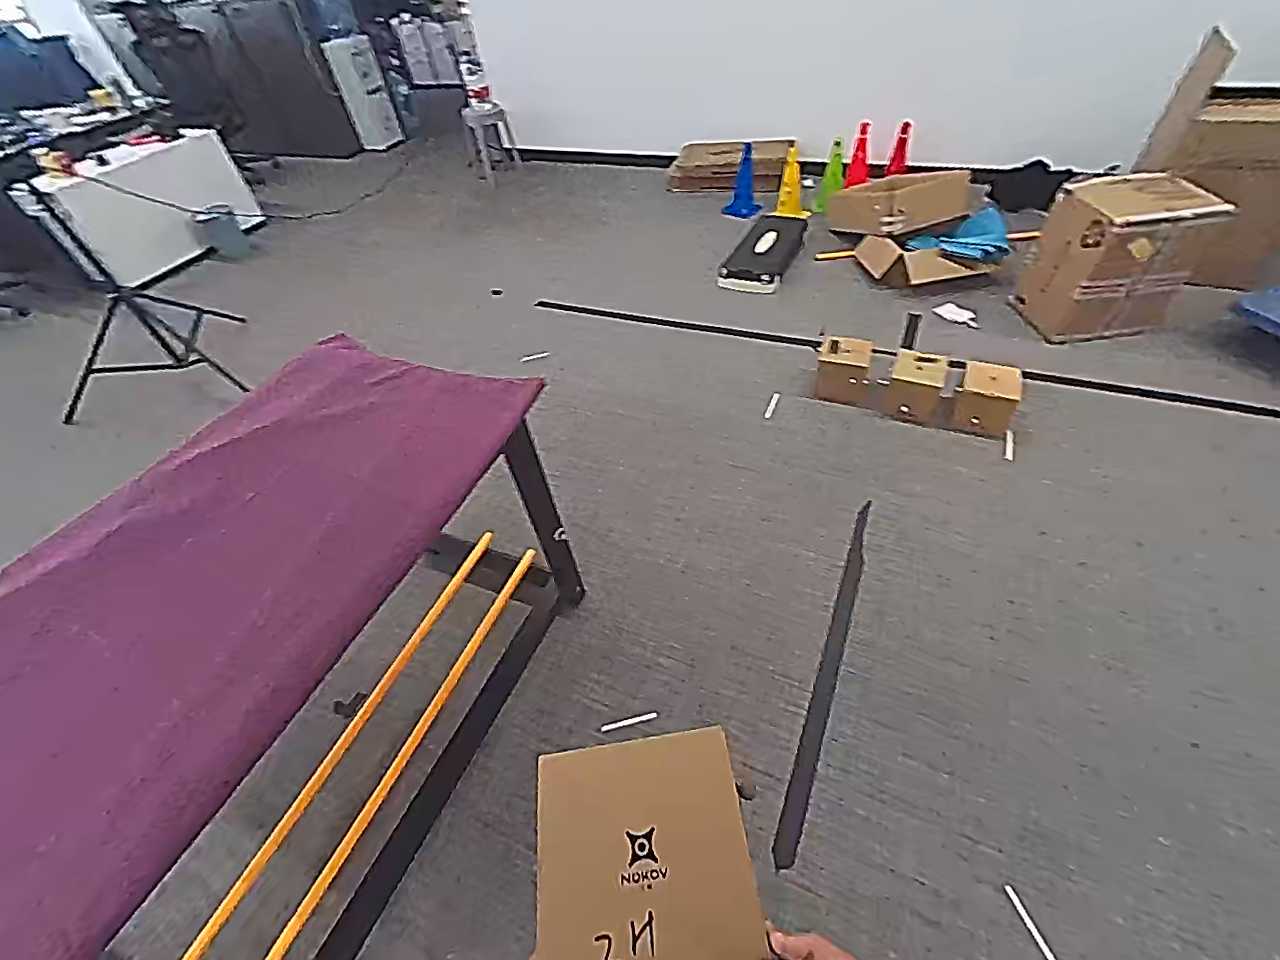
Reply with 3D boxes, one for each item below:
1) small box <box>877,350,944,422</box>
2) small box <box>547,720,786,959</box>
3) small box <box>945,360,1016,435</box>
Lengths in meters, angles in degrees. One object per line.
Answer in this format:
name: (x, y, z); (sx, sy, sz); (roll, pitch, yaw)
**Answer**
small box: (0.971, -0.339, 1.949); (0.168, 0.176, 0.179); (17, 53, 21)
small box: (0.021, 0.333, 0.468); (0.168, 0.176, 0.179); (-11, 50, 2)
small box: (1.180, -0.286, 1.880); (0.168, 0.176, 0.179); (16, 52, 19)
